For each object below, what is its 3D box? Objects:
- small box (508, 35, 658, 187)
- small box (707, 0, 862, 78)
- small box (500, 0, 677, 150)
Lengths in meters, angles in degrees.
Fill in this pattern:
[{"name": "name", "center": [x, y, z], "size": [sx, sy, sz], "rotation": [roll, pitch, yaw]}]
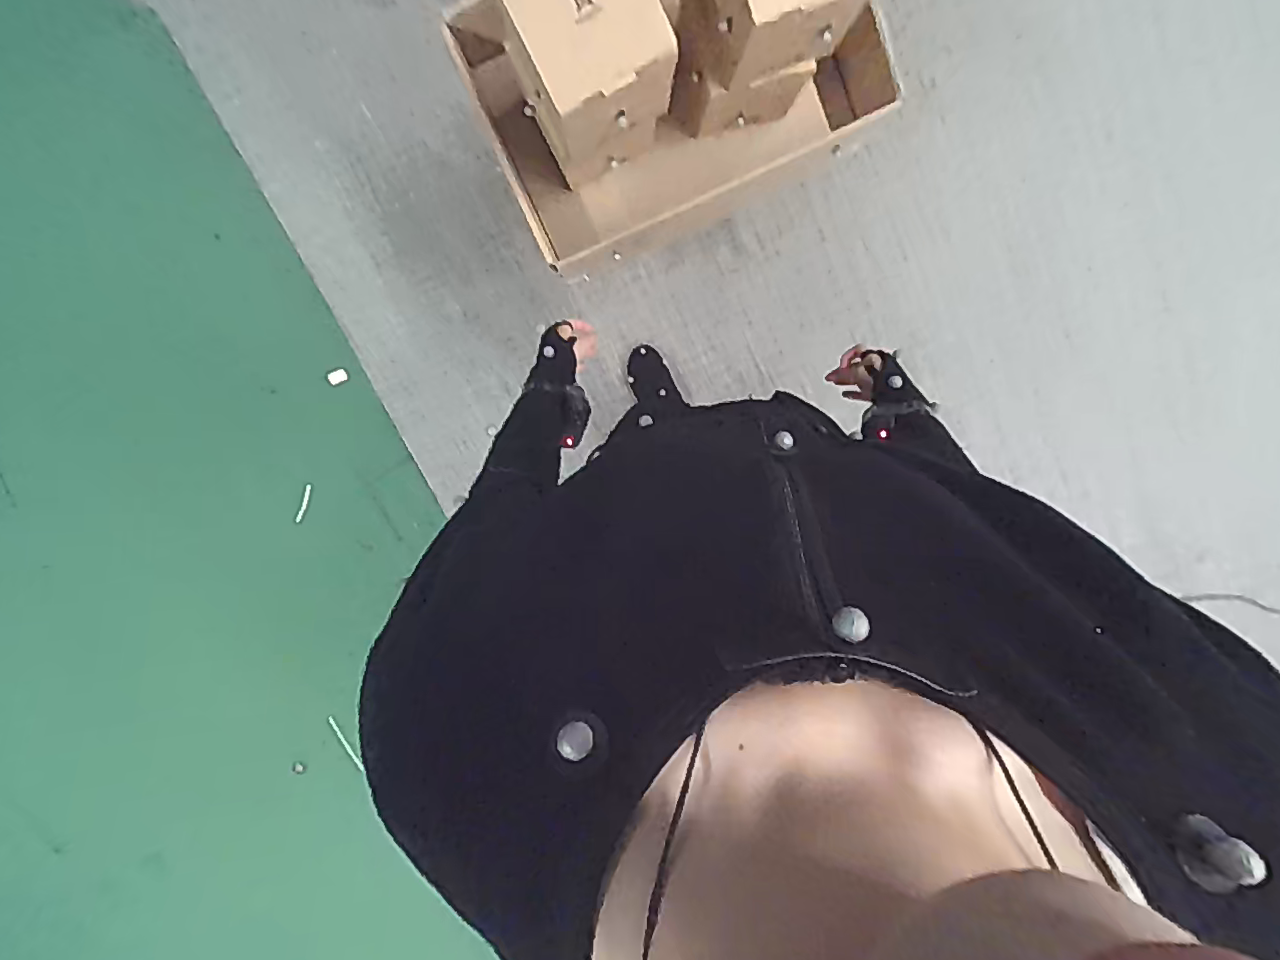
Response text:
[{"name": "small box", "center": [-0.084, -0.611, 0.865], "size": [0.168, 0.176, 0.179], "rotation": [-27, 102, 5]}, {"name": "small box", "center": [0.185, -0.661, 0.695], "size": [0.168, 0.176, 0.179], "rotation": [-18, 102, 1]}, {"name": "small box", "center": [-0.066, -0.567, 0.707], "size": [0.168, 0.176, 0.179], "rotation": [-27, 102, 4]}]
